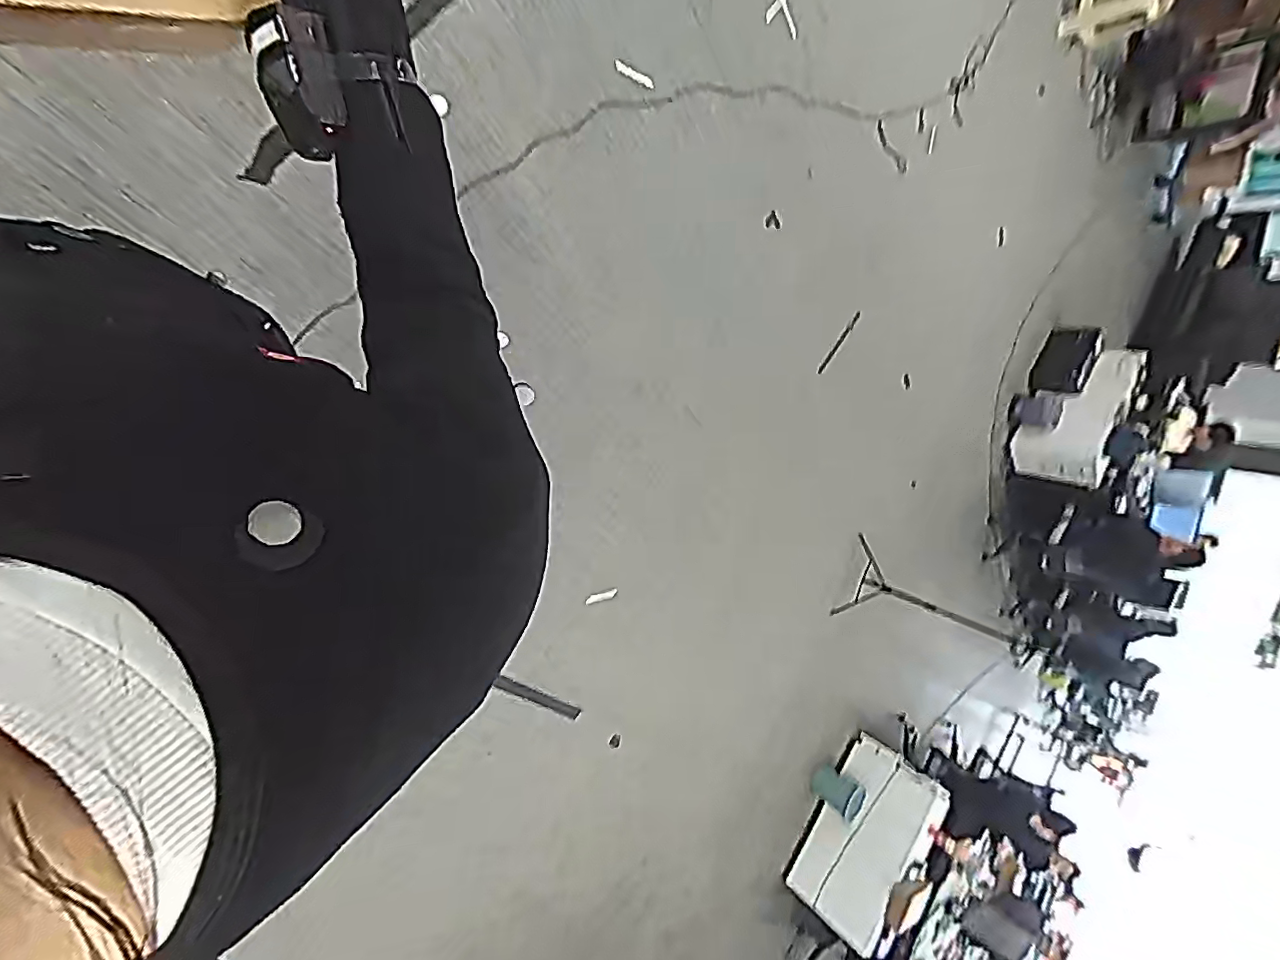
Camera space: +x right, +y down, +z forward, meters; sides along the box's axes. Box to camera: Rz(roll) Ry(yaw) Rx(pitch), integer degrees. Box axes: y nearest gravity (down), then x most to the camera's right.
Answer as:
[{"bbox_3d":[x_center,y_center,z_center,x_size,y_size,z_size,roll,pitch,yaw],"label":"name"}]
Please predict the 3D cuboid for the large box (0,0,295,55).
[{"bbox_3d":[-0.461,-0.402,0.241,0.408,0.320,0.320,-25,133,-33],"label":"large box"}]
